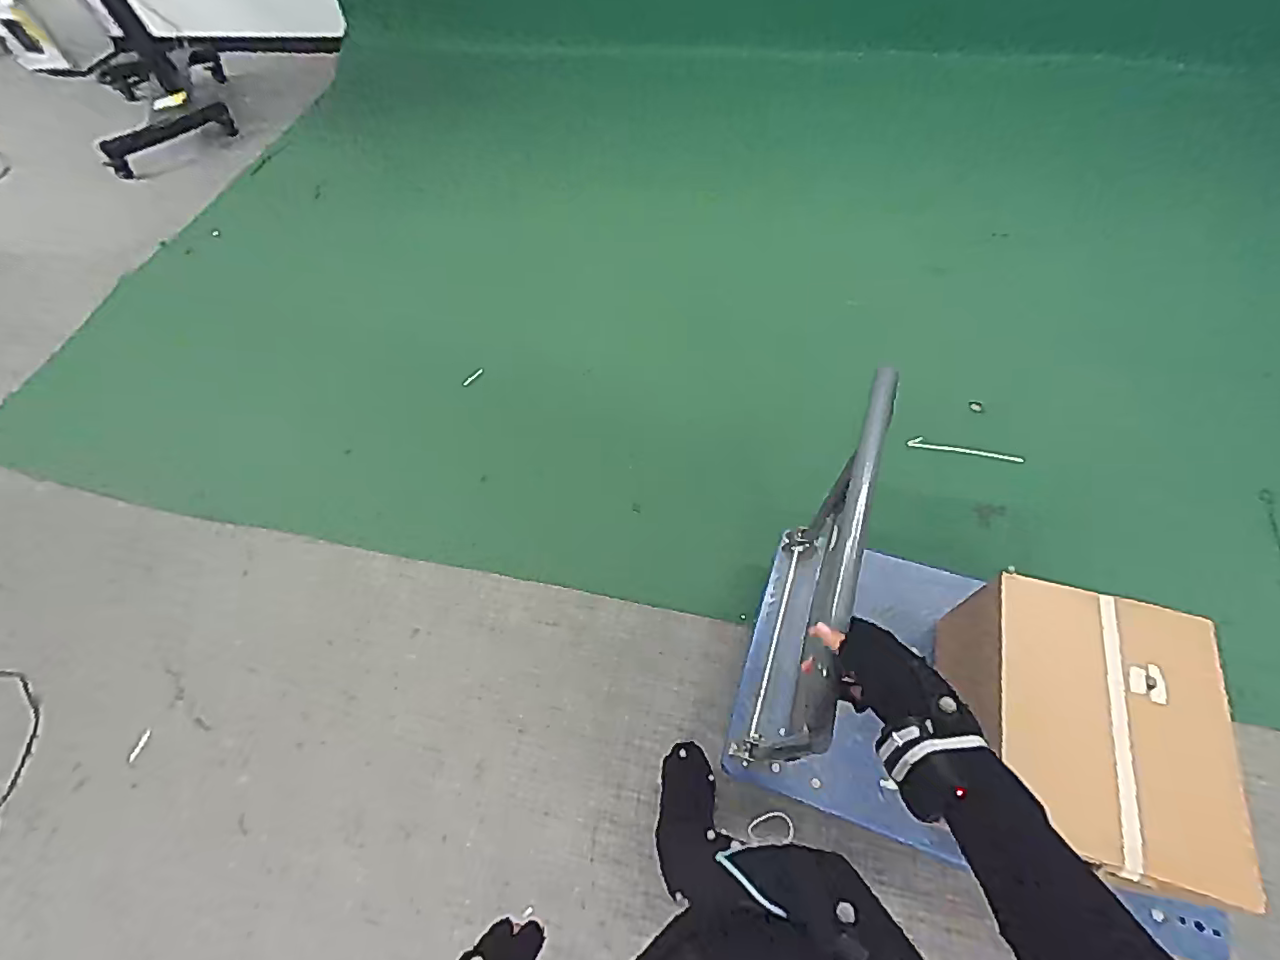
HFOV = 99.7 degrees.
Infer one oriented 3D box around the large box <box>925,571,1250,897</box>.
[{"bbox_3d":[0.725,0.435,0.961,0.320,0.320,0.408,13,60,13],"label":"large box"}]
